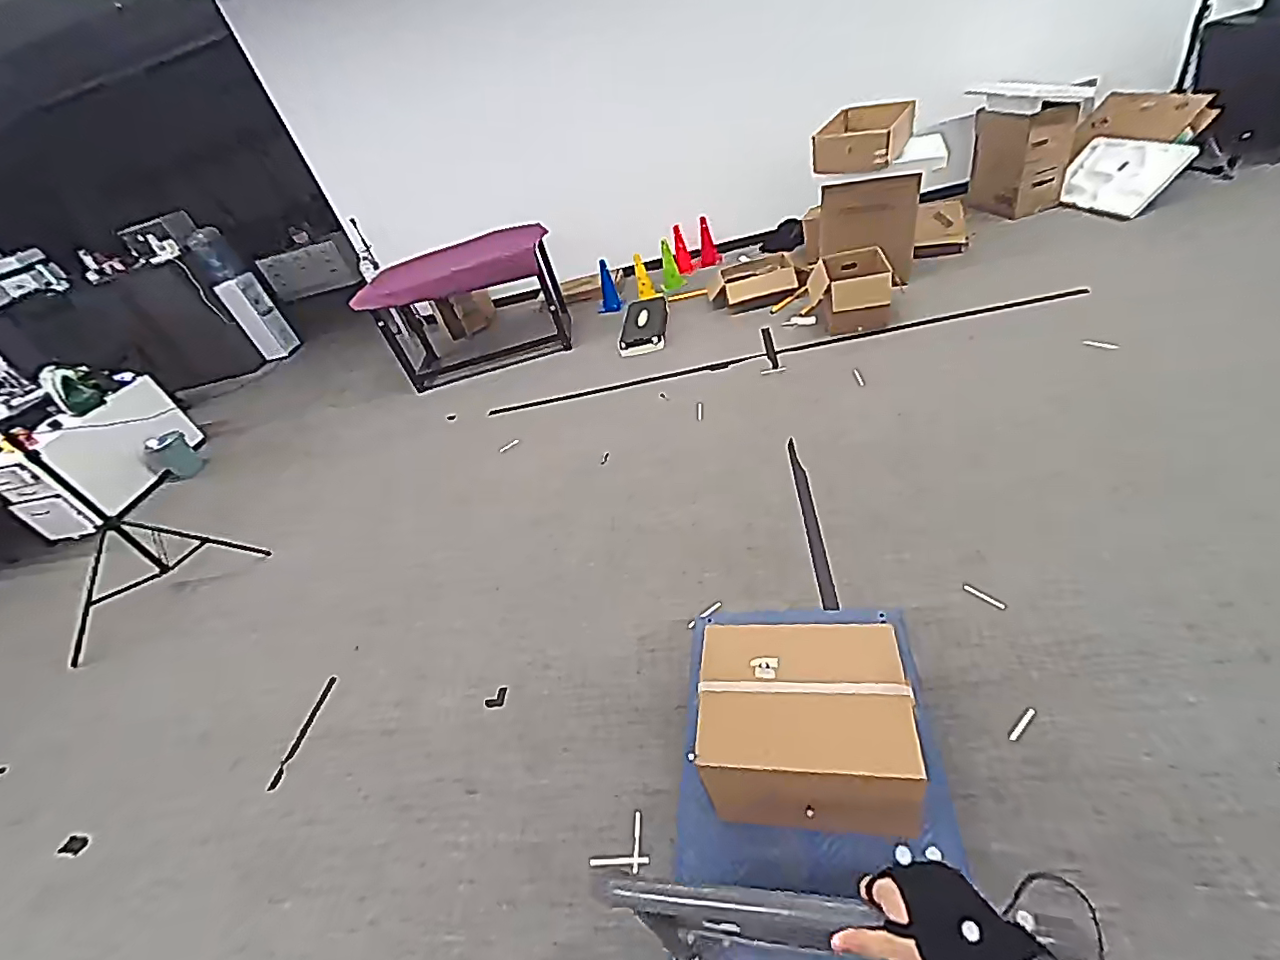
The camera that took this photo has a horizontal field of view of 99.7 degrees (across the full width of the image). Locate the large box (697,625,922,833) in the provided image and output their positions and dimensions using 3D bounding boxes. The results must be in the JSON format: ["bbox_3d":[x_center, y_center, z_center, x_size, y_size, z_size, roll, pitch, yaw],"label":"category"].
[{"bbox_3d":[0.359,0.545,1.189,0.408,0.320,0.320,-7,38,16],"label":"large box"}]
